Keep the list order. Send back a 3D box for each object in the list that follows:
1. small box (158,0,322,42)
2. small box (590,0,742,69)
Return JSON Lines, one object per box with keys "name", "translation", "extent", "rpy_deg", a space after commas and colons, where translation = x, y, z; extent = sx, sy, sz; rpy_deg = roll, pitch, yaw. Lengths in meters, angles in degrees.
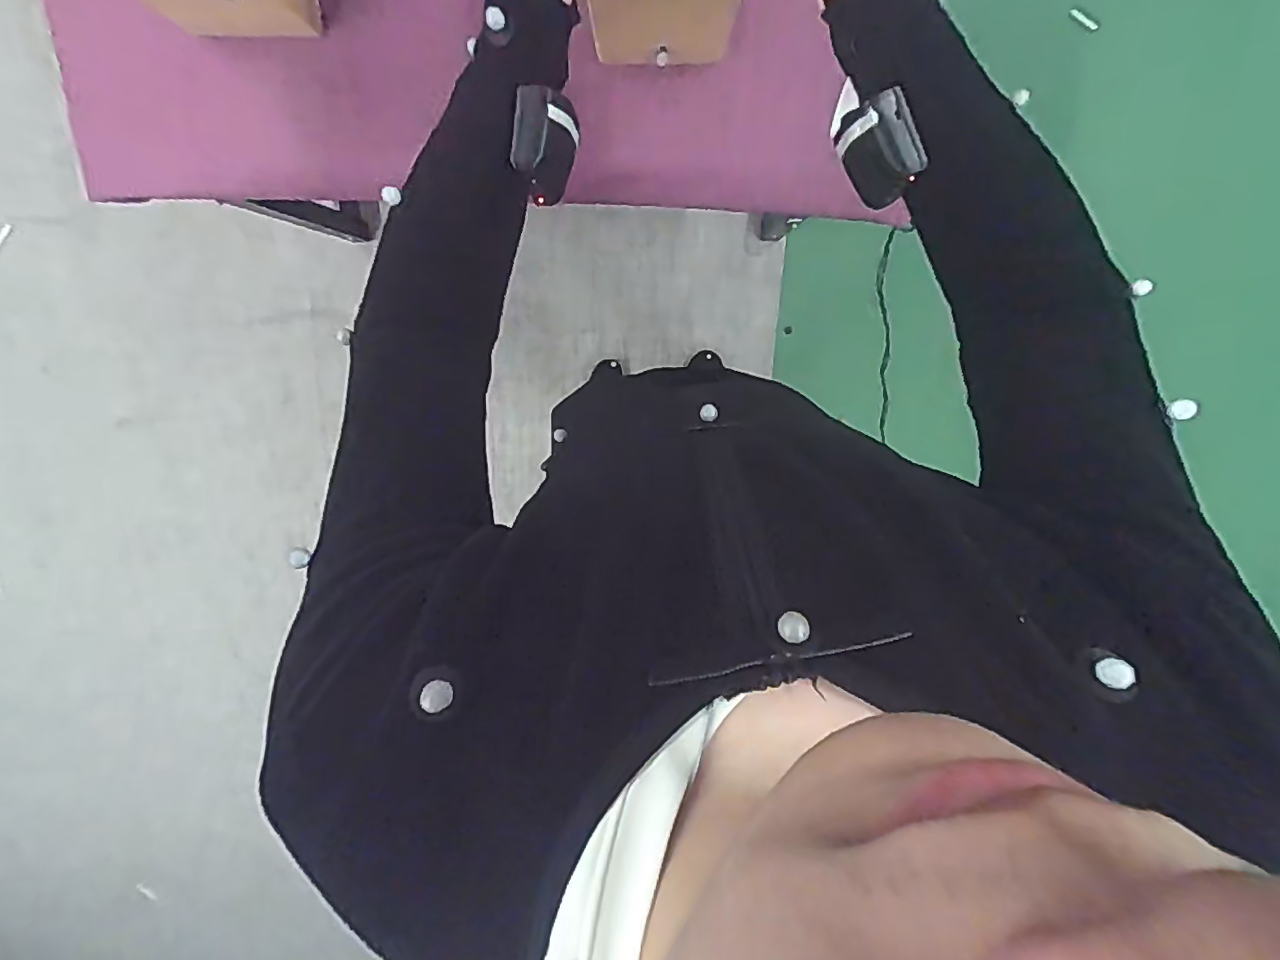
{"name": "small box", "translation": [-0.522, -0.682, 0.669], "extent": [0.179, 0.176, 0.168], "rpy_deg": [2, 104, 1]}
{"name": "small box", "translation": [0.031, -0.639, 0.664], "extent": [0.179, 0.176, 0.168], "rpy_deg": [0, 104, 1]}
